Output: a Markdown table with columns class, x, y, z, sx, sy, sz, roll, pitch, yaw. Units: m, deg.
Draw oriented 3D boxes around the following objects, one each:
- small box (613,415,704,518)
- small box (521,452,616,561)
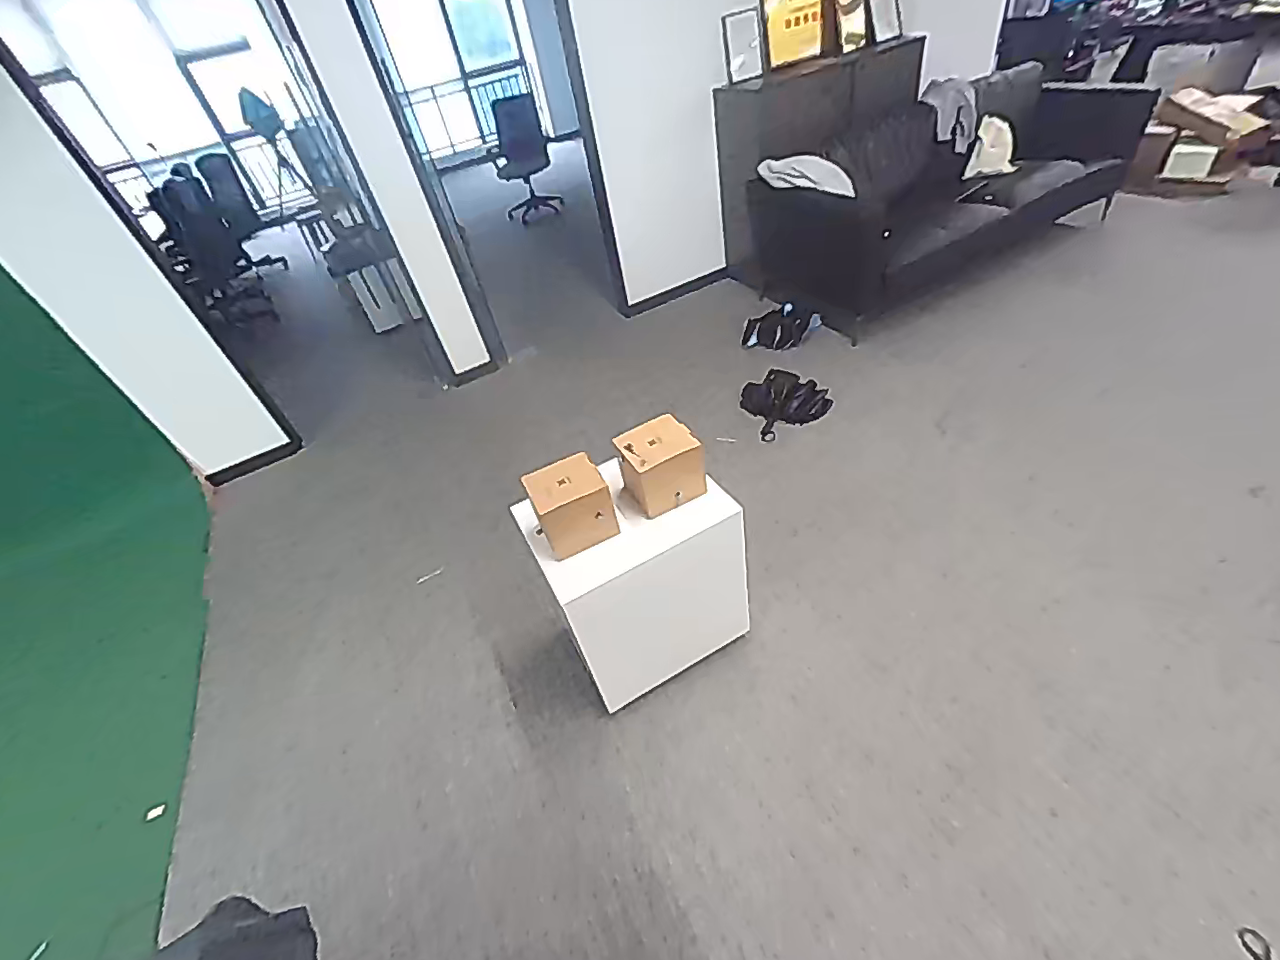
| class | x | y | z | sx | sy | sz | roll | pitch | yaw |
| --- | --- | --- | --- | --- | --- | --- | --- | --- | --- |
| small box | 0.052 | -0.033 | 1.394 | 0.179 | 0.176 | 0.168 | -24 | 43 | -14 |
| small box | -0.171 | 0.065 | 1.338 | 0.179 | 0.176 | 0.168 | -25 | 42 | -14 |
